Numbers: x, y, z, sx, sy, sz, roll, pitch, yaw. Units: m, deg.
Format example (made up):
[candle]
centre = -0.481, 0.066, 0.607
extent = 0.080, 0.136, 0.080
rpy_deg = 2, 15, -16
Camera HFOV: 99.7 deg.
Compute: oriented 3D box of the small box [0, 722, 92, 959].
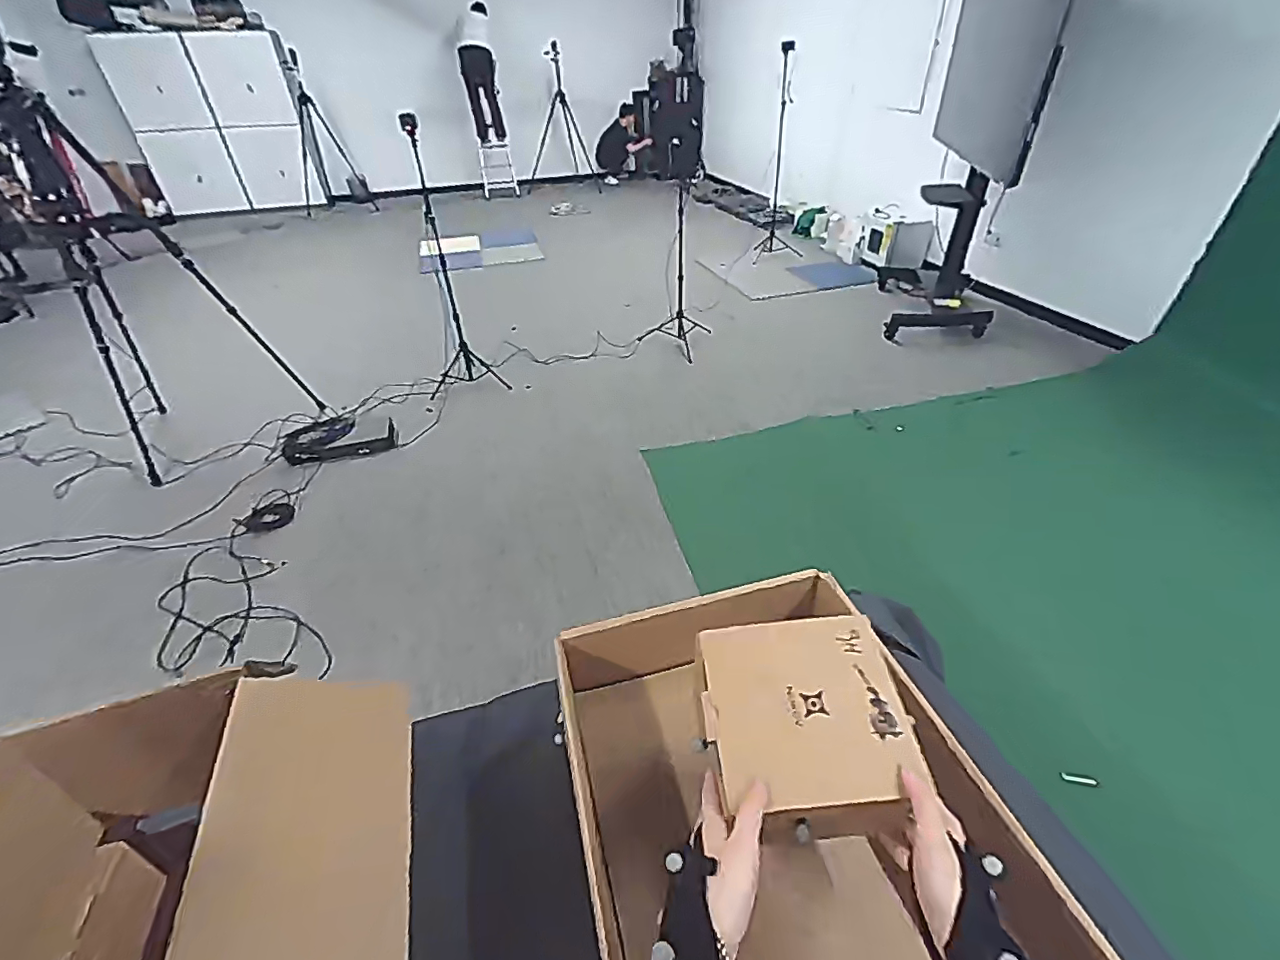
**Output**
[small box]
centre = -0.431, 0.245, 0.260
extent = 0.168, 0.176, 0.179
rpy_deg = -8, 37, -16
